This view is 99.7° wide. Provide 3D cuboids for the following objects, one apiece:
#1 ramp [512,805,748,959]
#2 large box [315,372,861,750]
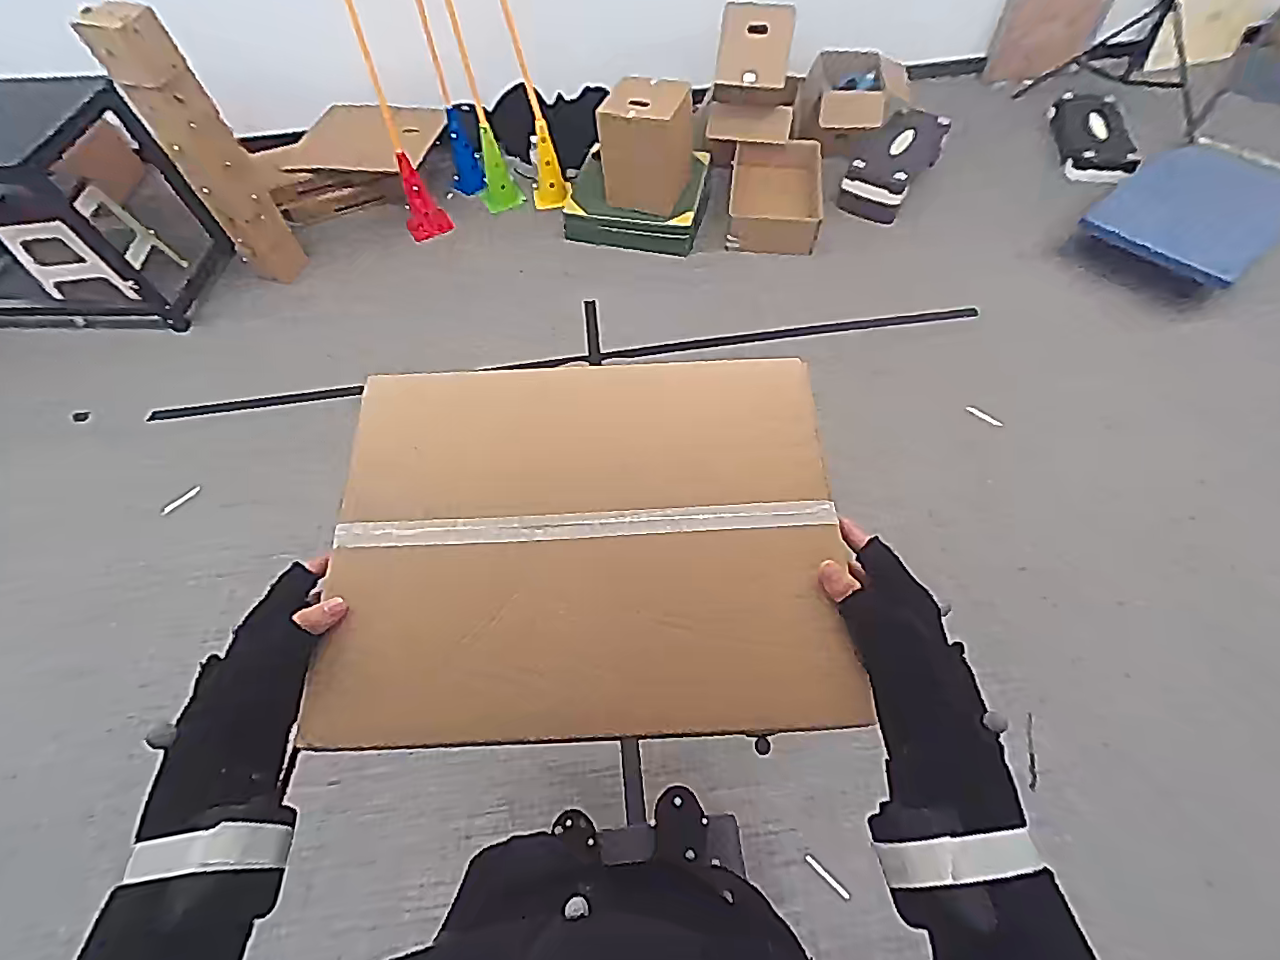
[{"bbox_3d":[0.013,1.232,1.058,0.509,0.206,0.991,-7,60,-4],"label":"ramp"},{"bbox_3d":[-0.040,0.104,0.584,0.408,0.320,0.320,-2,65,0],"label":"large box"}]
